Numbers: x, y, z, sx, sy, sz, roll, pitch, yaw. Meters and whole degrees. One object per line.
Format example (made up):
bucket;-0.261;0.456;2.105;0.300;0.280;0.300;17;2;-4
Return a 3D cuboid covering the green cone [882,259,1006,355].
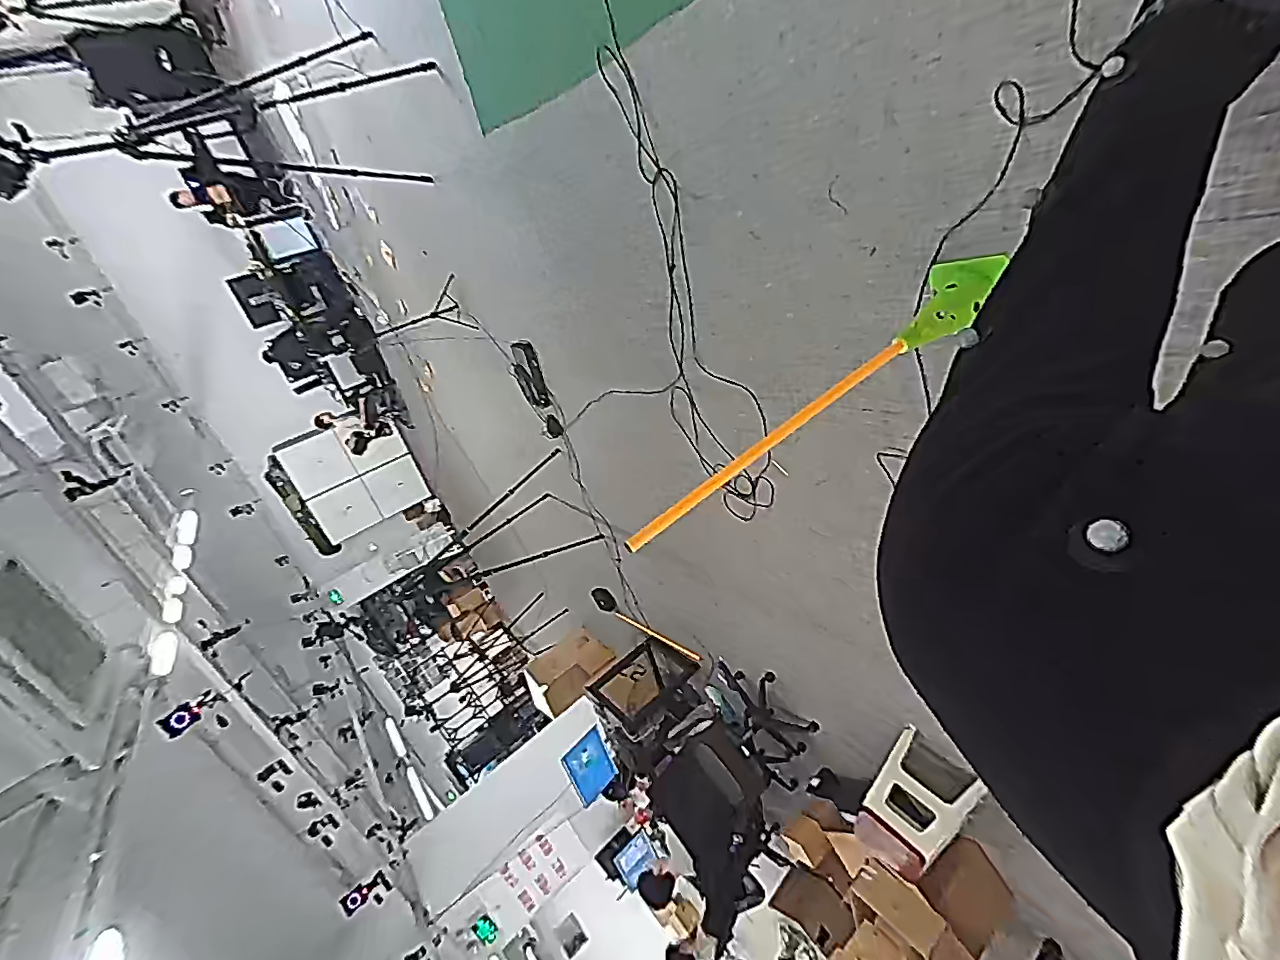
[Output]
green cone;0.753;-0.411;1.398;0.202;0.368;0.200;17;132;54
